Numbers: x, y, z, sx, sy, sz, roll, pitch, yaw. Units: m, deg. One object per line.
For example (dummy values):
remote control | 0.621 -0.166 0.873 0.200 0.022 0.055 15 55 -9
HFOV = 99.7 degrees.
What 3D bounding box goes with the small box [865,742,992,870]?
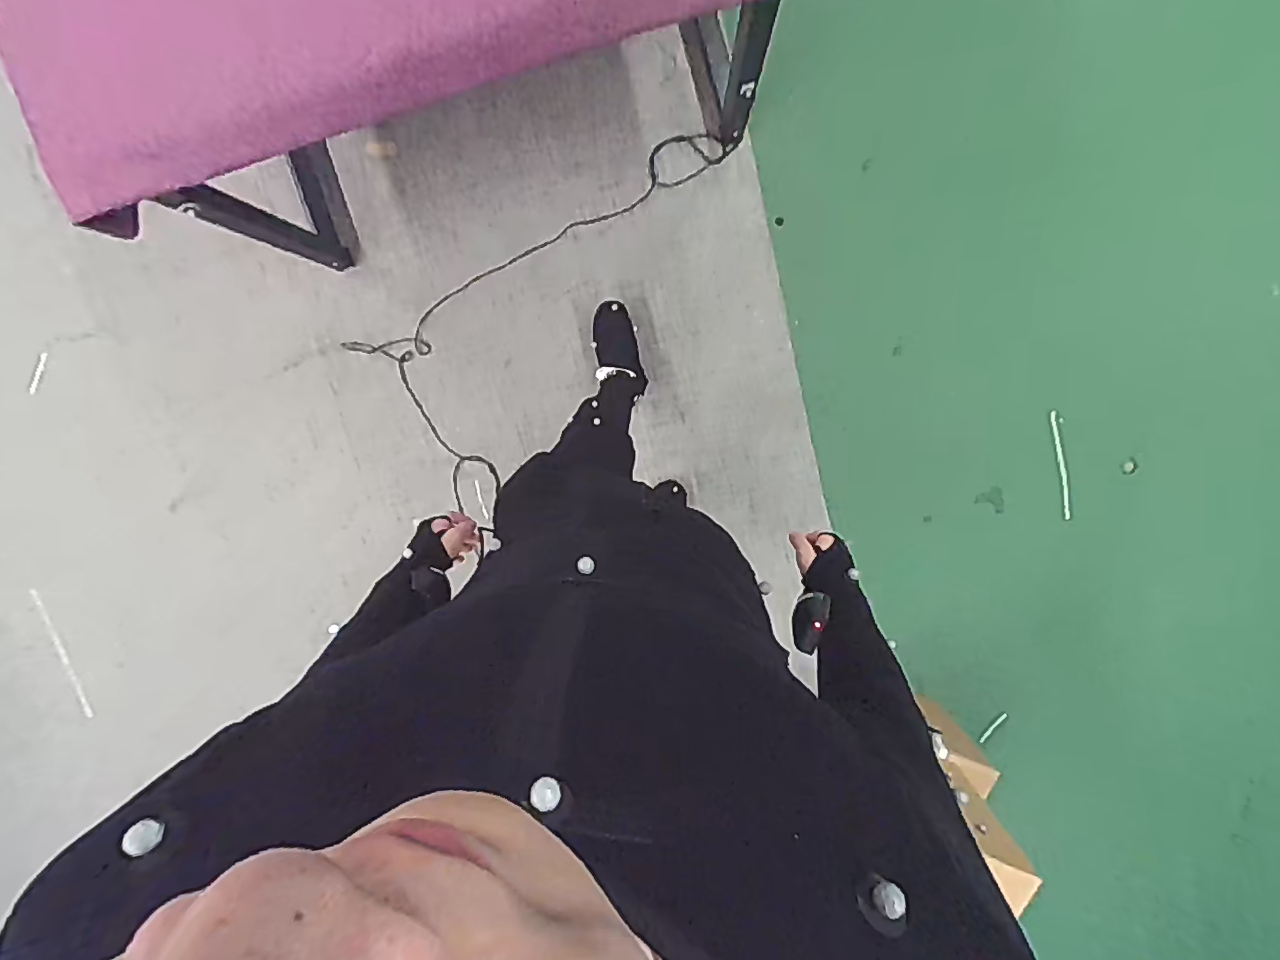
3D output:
small box | 0.669 0.759 1.280 0.179 0.176 0.168 25 100 -1
